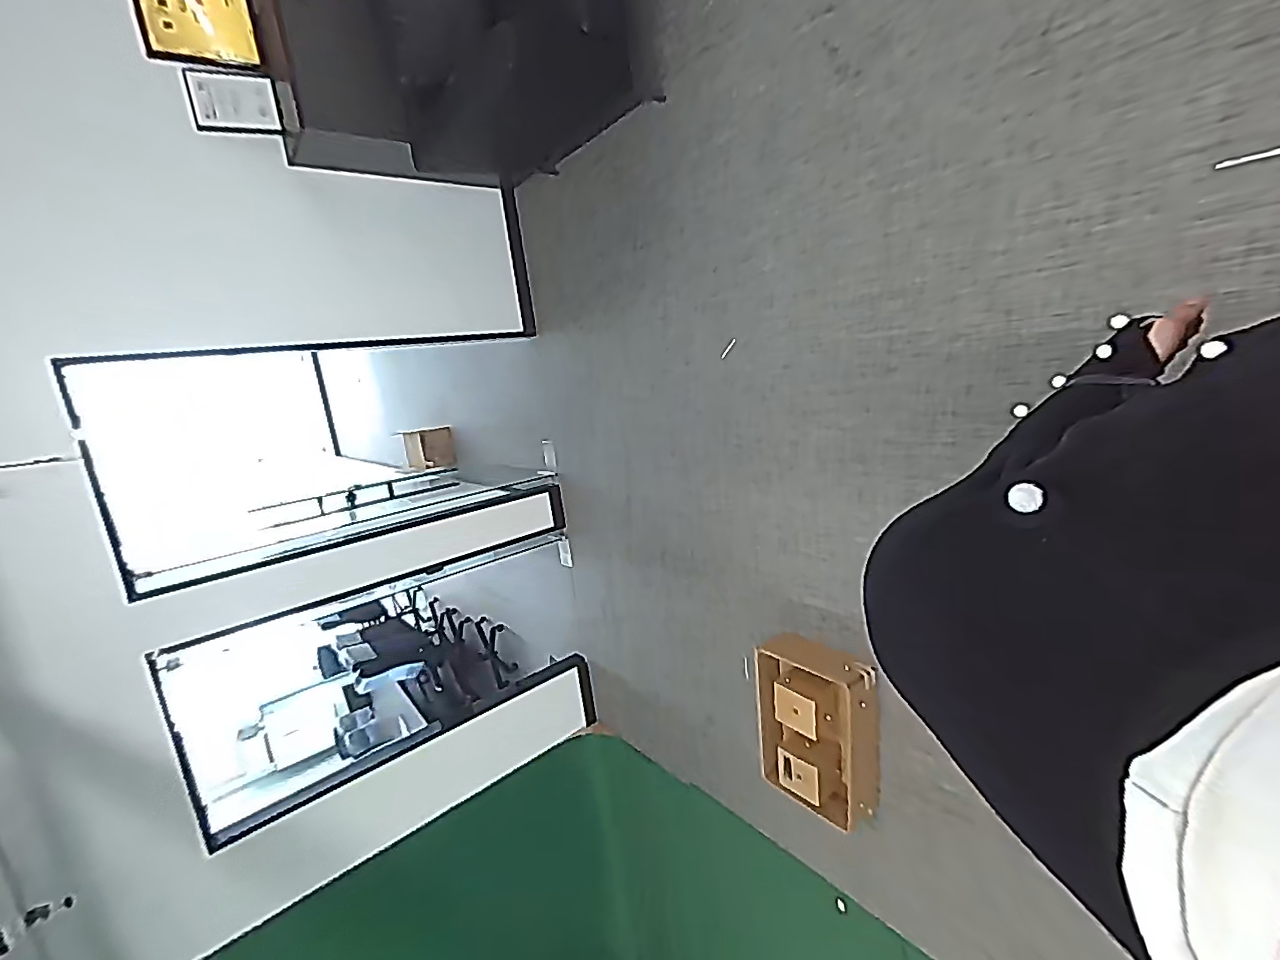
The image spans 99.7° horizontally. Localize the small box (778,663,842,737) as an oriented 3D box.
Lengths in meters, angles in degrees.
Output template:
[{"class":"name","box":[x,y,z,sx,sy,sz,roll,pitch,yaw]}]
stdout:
[{"class":"small box","box":[0.643,0.818,2.032,0.179,0.176,0.168,11,111,50]}]
